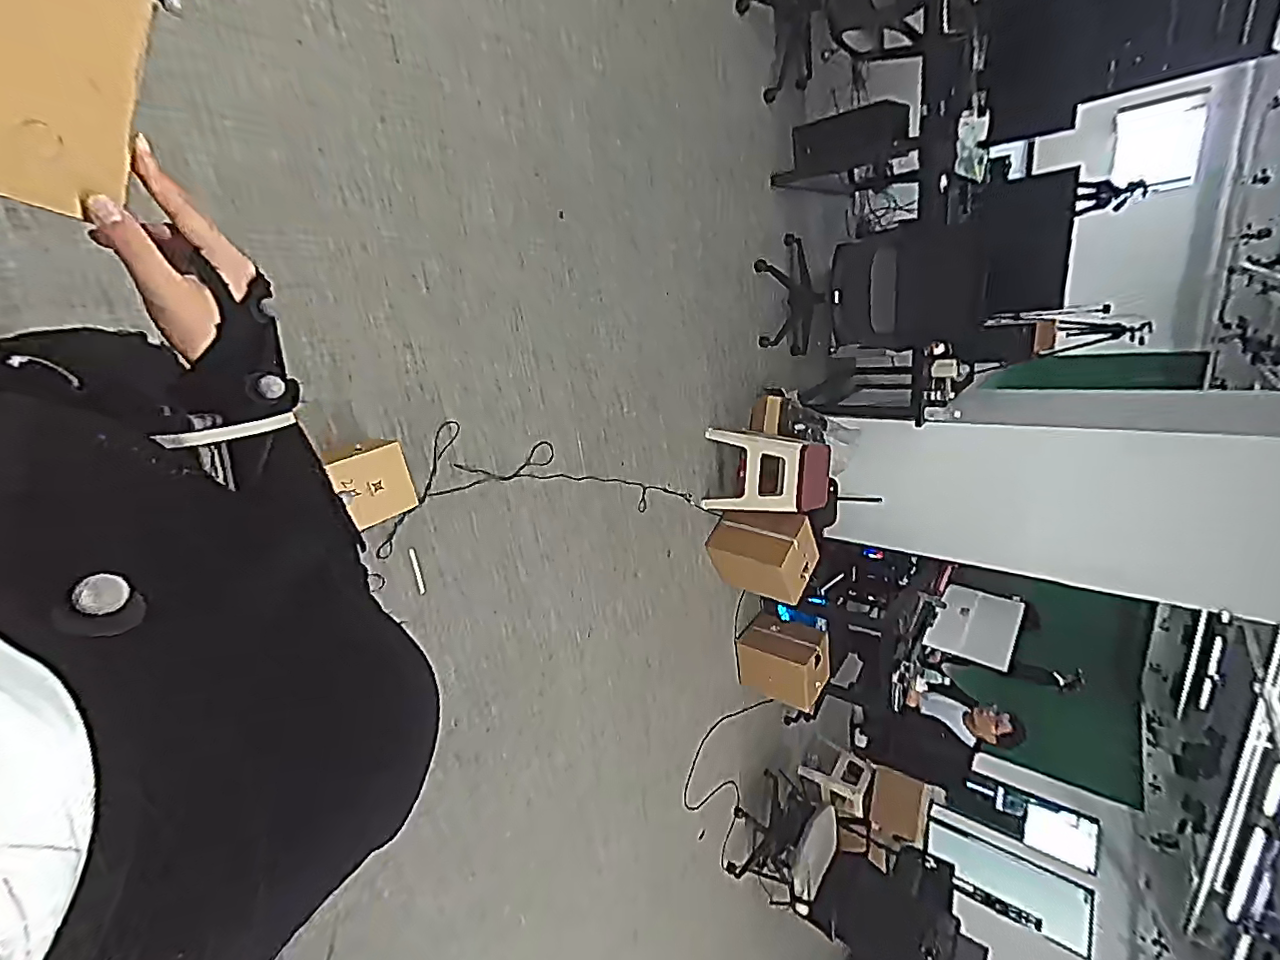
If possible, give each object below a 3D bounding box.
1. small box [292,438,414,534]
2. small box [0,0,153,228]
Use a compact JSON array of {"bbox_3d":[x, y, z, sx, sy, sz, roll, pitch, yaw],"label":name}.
[{"bbox_3d":[-0.667,0.005,1.262,0.179,0.176,0.168,-29,118,-44],"label":"small box"},{"bbox_3d":[-0.375,-0.258,0.286,0.168,0.176,0.179,6,107,-47],"label":"small box"}]
